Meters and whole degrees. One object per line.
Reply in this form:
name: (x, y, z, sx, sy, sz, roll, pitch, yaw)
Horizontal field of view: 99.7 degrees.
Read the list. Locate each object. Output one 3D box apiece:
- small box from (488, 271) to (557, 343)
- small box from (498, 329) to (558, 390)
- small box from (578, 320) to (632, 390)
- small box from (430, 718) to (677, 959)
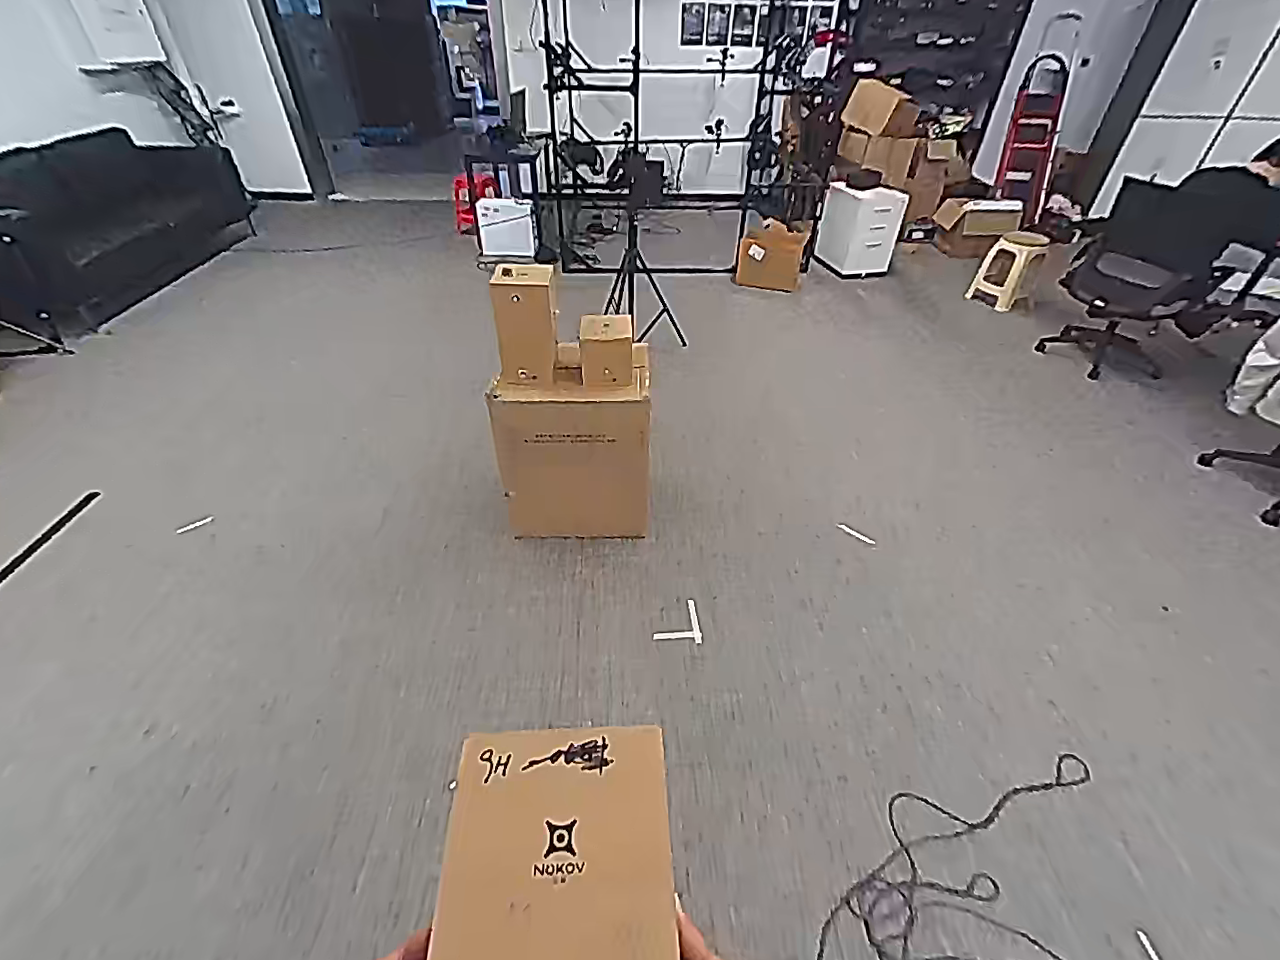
small box: (-0.360, -0.538, 1.686, 0.179, 0.176, 0.168, 0, 40, -3)
small box: (-0.365, -0.415, 1.794, 0.168, 0.176, 0.179, -1, 42, -2)
small box: (-0.112, -0.415, 1.795, 0.168, 0.176, 0.179, -2, 40, 0)
small box: (-0.060, 0.322, 0.455, 0.168, 0.176, 0.179, -2, 47, -3)
